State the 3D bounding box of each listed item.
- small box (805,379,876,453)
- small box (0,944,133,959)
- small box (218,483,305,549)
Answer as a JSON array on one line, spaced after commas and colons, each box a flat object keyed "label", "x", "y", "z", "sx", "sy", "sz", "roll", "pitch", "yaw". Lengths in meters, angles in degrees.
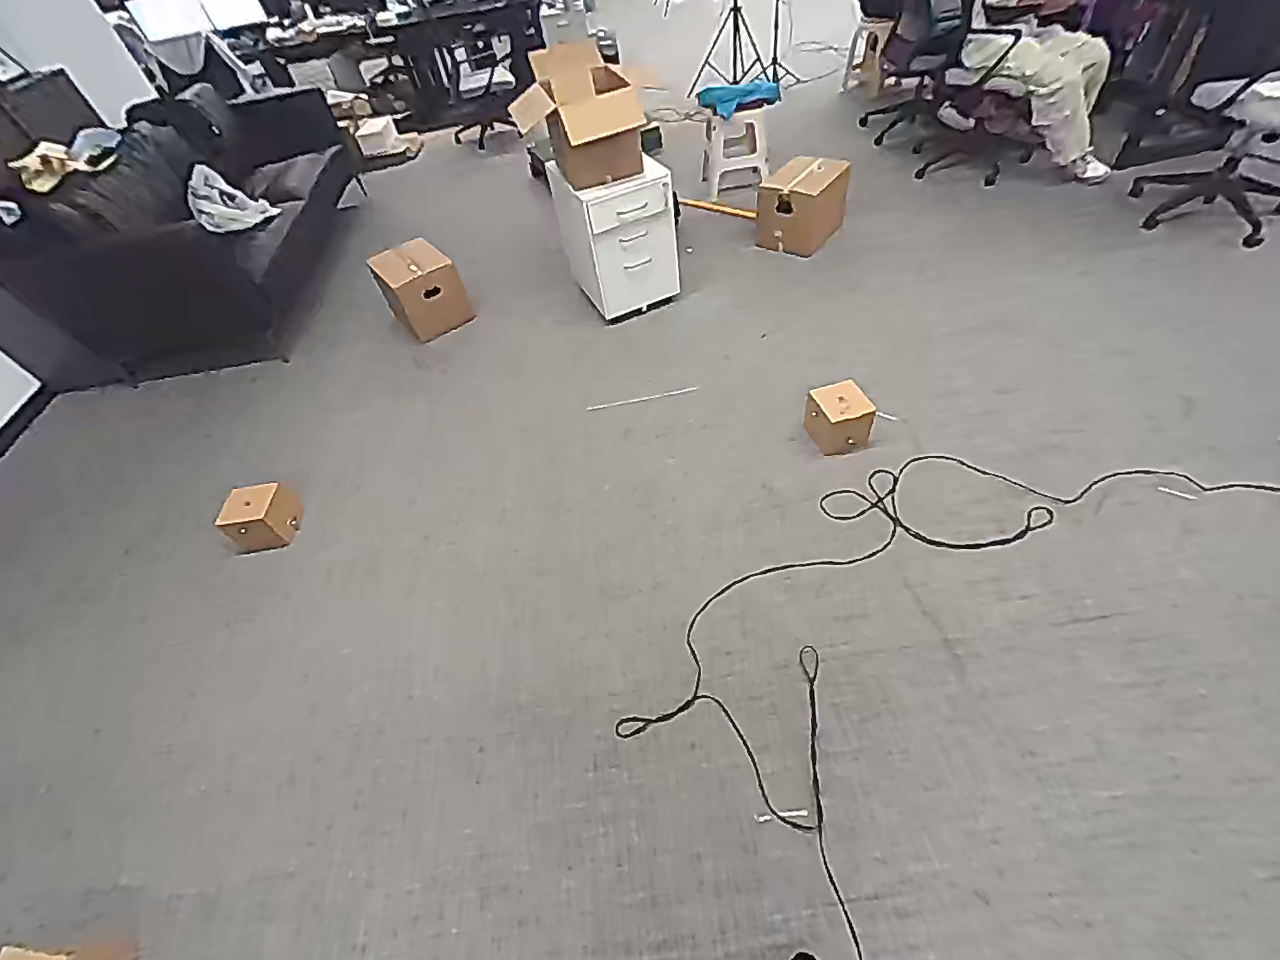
[{"label": "small box", "x": 0.699, "y": -0.224, "z": 1.913, "sx": 0.168, "sy": 0.176, "sz": 0.179, "roll": -16, "pitch": 50, "yaw": -4}, {"label": "small box", "x": -1.249, "y": 1.096, "z": 1.137, "sx": 0.179, "sy": 0.176, "sz": 0.168, "roll": 0, "pitch": 50, "yaw": 9}, {"label": "small box", "x": -1.378, "y": 0.137, "z": 1.981, "sx": 0.179, "sy": 0.176, "sz": 0.168, "roll": -9, "pitch": 50, "yaw": 1}]
